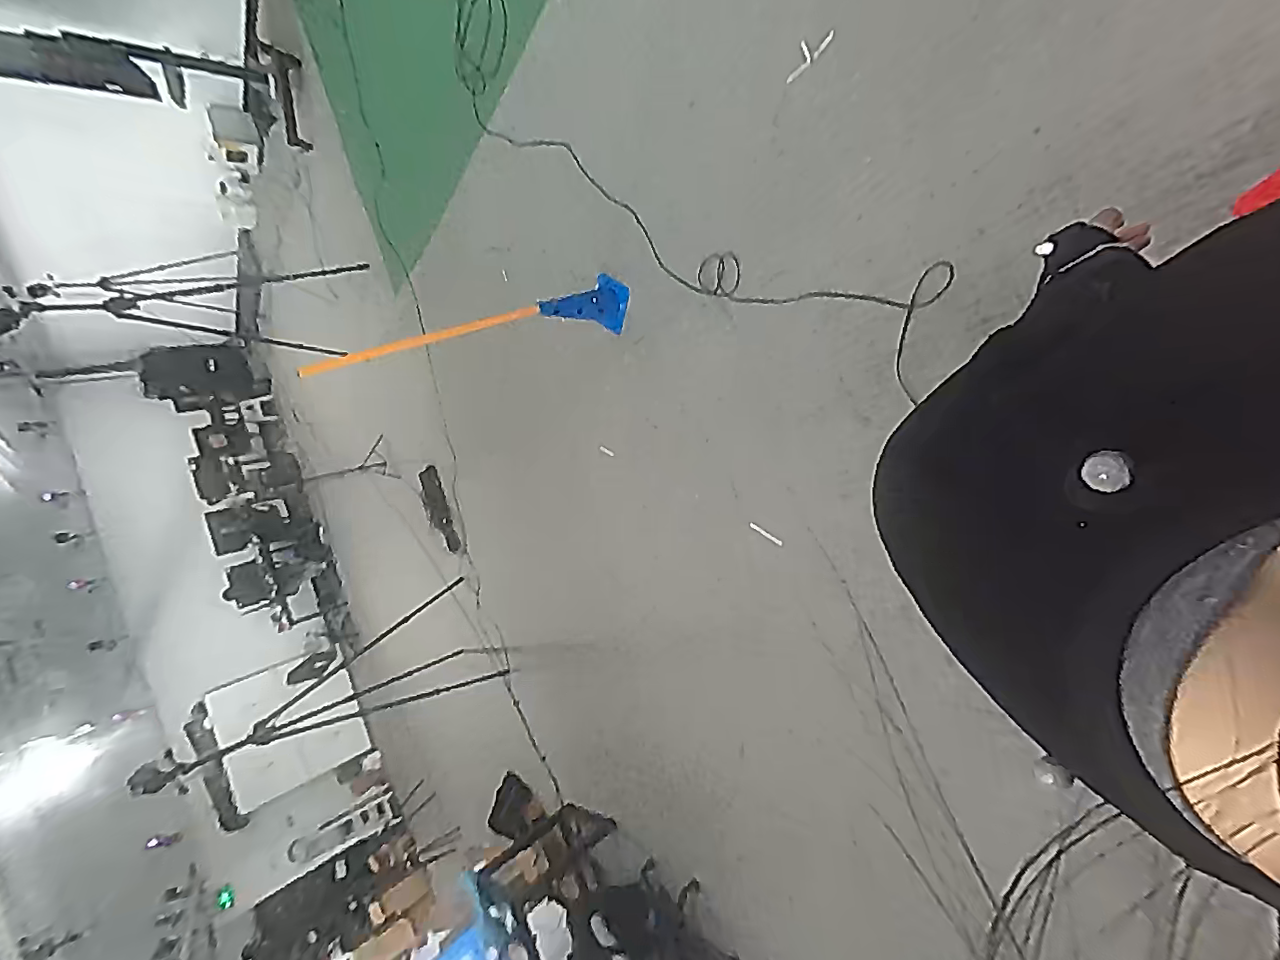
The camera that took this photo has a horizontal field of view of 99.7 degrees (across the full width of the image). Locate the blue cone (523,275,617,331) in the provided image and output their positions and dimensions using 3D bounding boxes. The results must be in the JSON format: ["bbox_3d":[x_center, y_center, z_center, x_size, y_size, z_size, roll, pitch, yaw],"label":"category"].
[{"bbox_3d":[-0.281,-0.680,2.109,0.192,0.380,0.193,38,131,31],"label":"blue cone"}]
